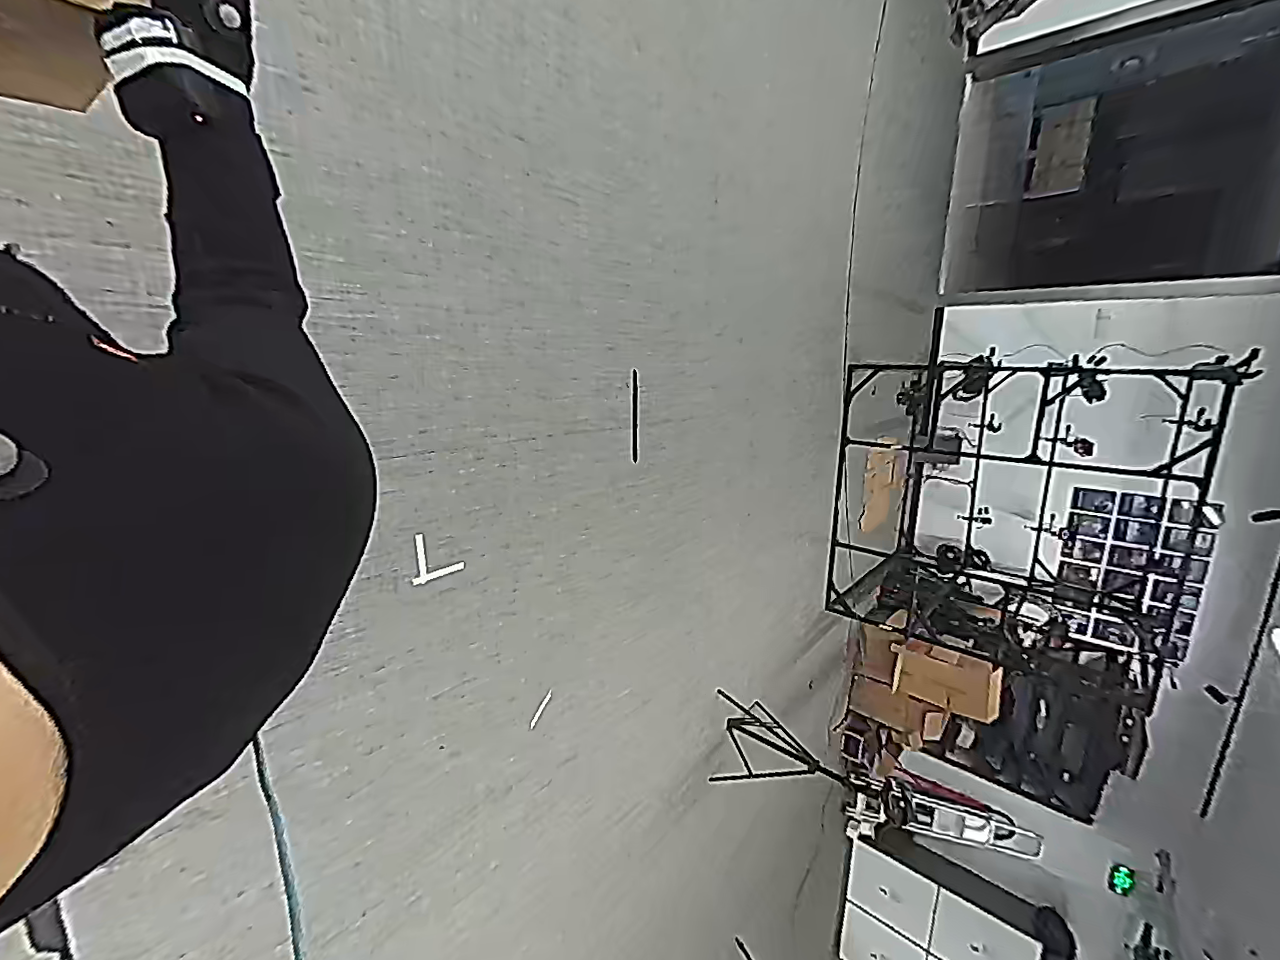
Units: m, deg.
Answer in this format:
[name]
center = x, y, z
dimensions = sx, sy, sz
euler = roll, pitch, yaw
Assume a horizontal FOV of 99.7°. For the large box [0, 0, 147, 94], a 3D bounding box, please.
[large box]
center = -0.583, -0.461, 0.276
dimensions = 0.408, 0.320, 0.320
euler = -19, 118, -49
